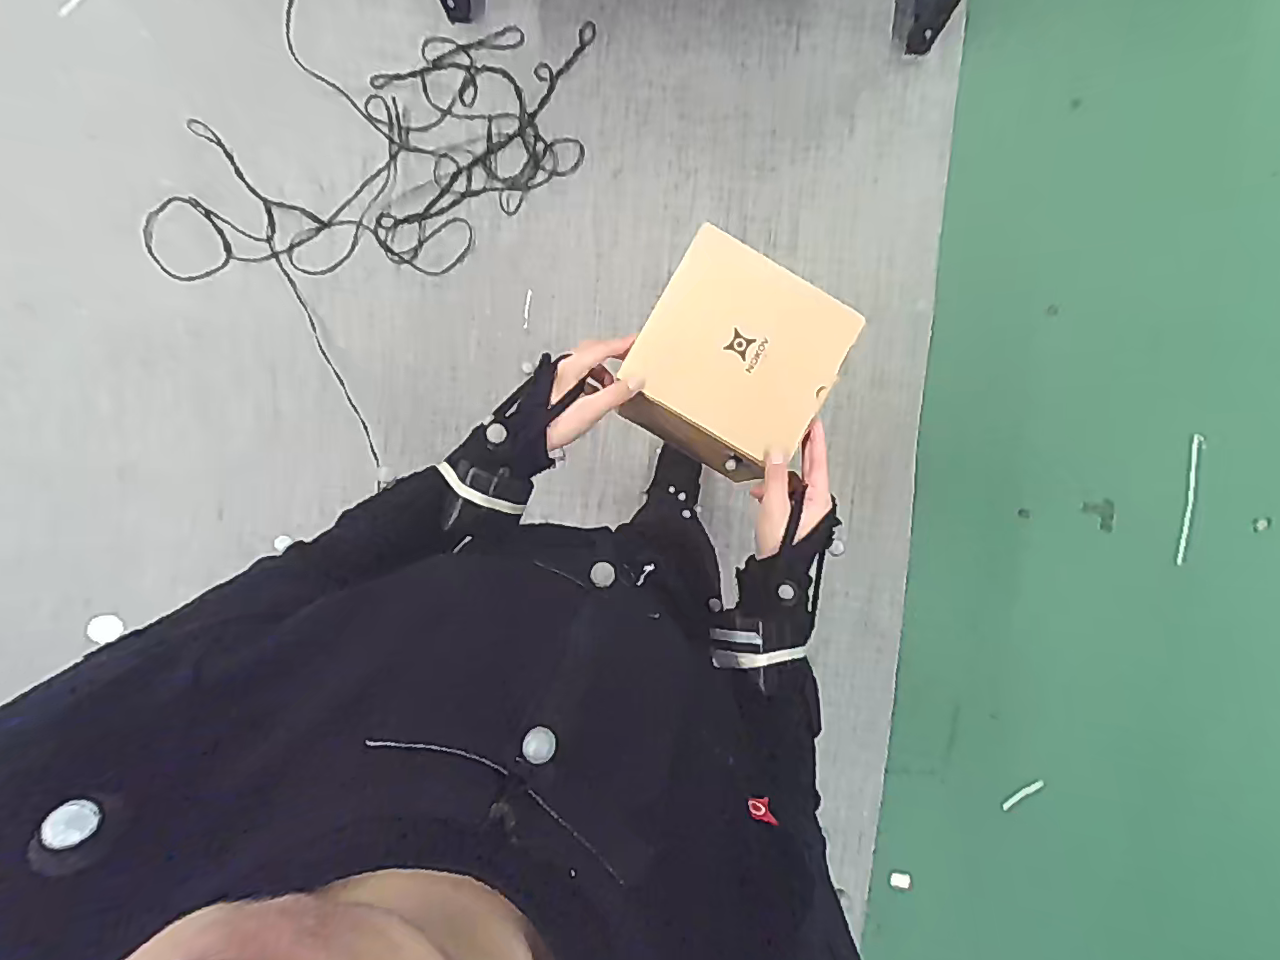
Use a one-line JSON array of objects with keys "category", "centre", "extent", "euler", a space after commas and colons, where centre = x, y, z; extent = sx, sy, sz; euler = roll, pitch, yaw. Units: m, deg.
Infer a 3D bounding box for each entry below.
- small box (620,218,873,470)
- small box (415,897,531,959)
[{"category": "small box", "centre": [0.091, -0.118, 0.556], "extent": [0.179, 0.176, 0.168], "euler": [29, 86, -3]}, {"category": "small box", "centre": [-0.316, 0.918, 0.995], "extent": [0.179, 0.176, 0.168], "euler": [11, 93, 1]}]
